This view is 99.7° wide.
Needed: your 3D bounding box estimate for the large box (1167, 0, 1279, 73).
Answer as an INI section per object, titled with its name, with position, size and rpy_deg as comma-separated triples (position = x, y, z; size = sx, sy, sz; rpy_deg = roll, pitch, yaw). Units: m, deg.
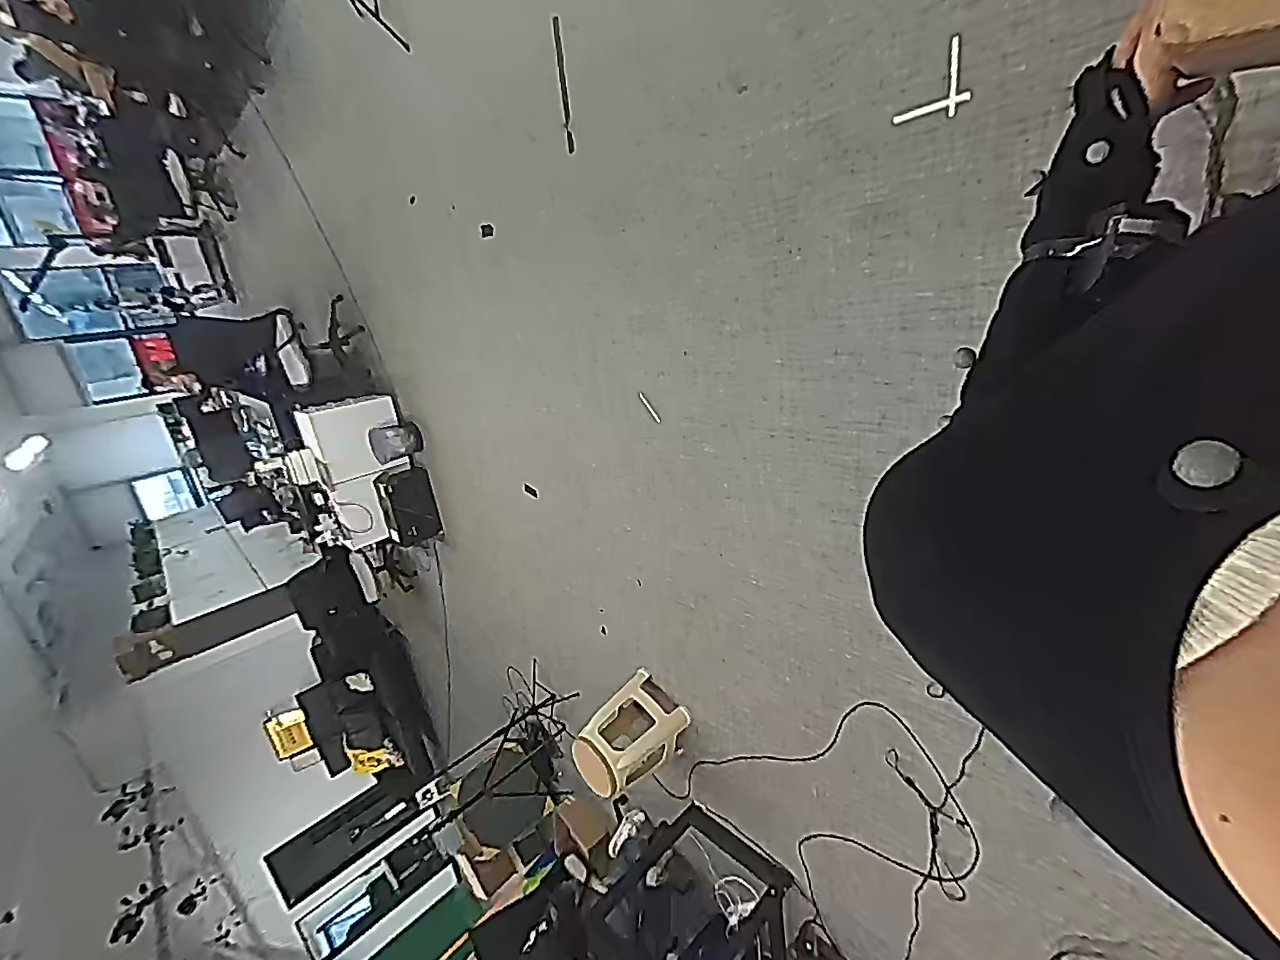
[large box]
position = 0.425, -0.330, 0.114
size = 0.408, 0.320, 0.320
rpy_deg = 16, 127, 38
